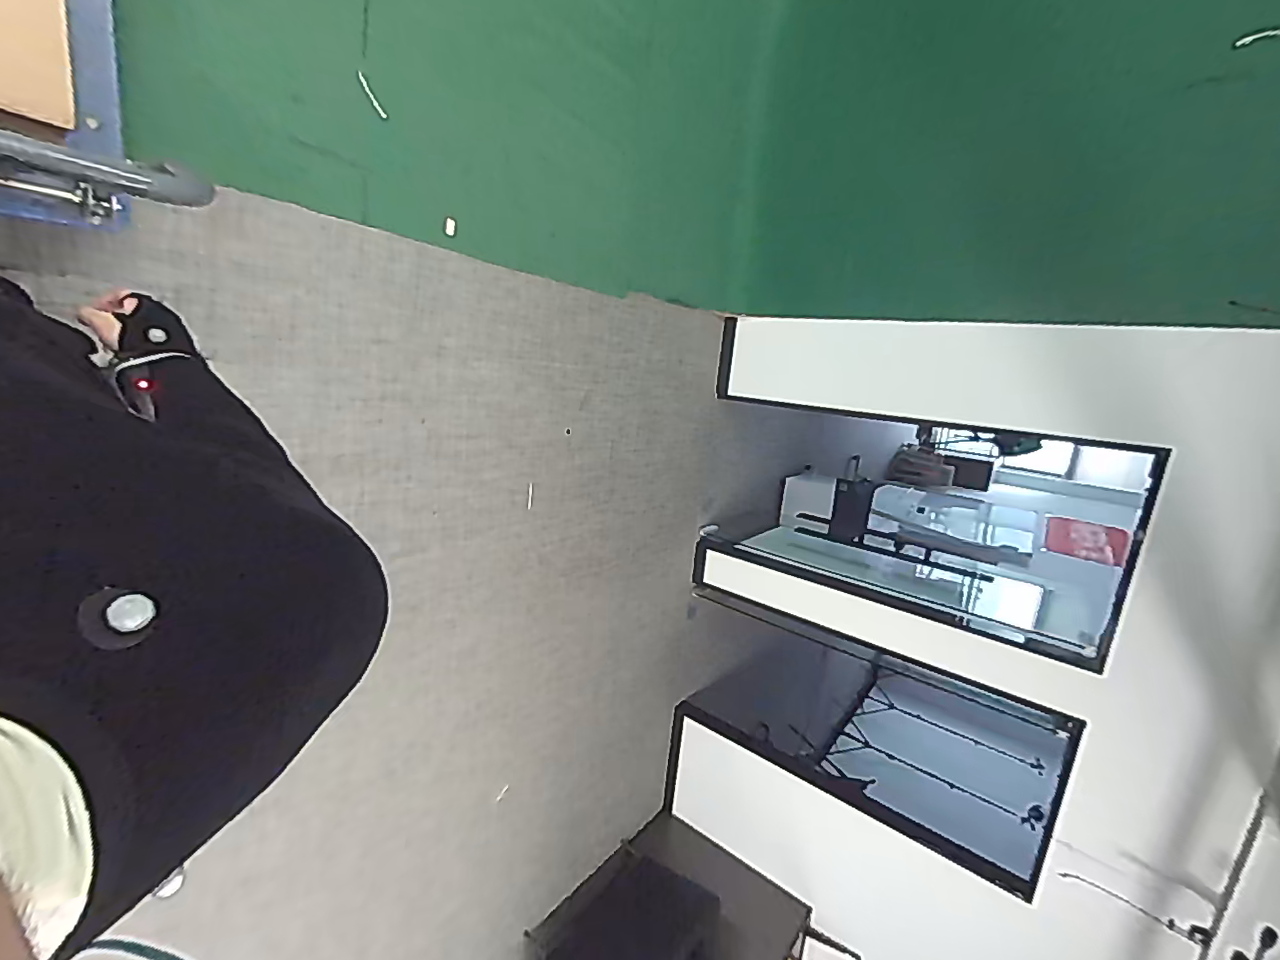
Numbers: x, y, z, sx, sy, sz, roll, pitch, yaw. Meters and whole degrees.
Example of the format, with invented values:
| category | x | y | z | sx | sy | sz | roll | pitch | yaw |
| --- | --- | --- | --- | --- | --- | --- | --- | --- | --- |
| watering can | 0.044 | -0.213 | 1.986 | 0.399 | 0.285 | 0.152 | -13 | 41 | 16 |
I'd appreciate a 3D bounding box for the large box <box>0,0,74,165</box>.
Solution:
| category | x | y | z | sx | sy | sz | roll | pitch | yaw |
| --- | --- | --- | --- | --- | --- | --- | --- | --- | --- |
| large box | -1.012 | -0.700 | 0.708 | 0.320 | 0.320 | 0.408 | -10 | 108 | -52 |
